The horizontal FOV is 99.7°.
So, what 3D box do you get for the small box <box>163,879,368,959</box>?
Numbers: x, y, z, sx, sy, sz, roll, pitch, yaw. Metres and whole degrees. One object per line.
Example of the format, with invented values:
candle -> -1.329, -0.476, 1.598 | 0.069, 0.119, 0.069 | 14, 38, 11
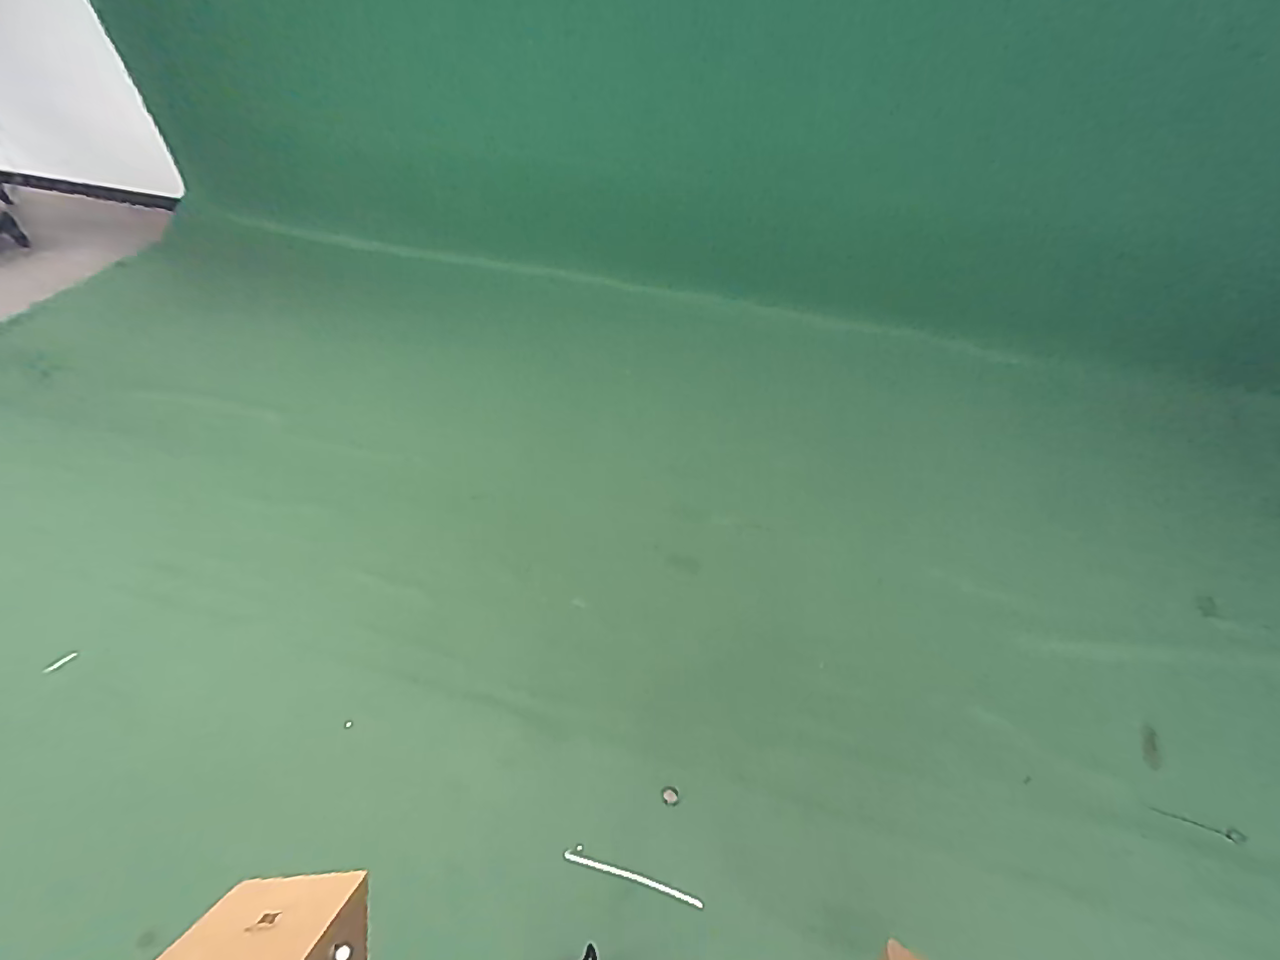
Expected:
small box -> -0.439, 0.609, 0.628 | 0.168, 0.179, 0.176 | -2, 83, -4
